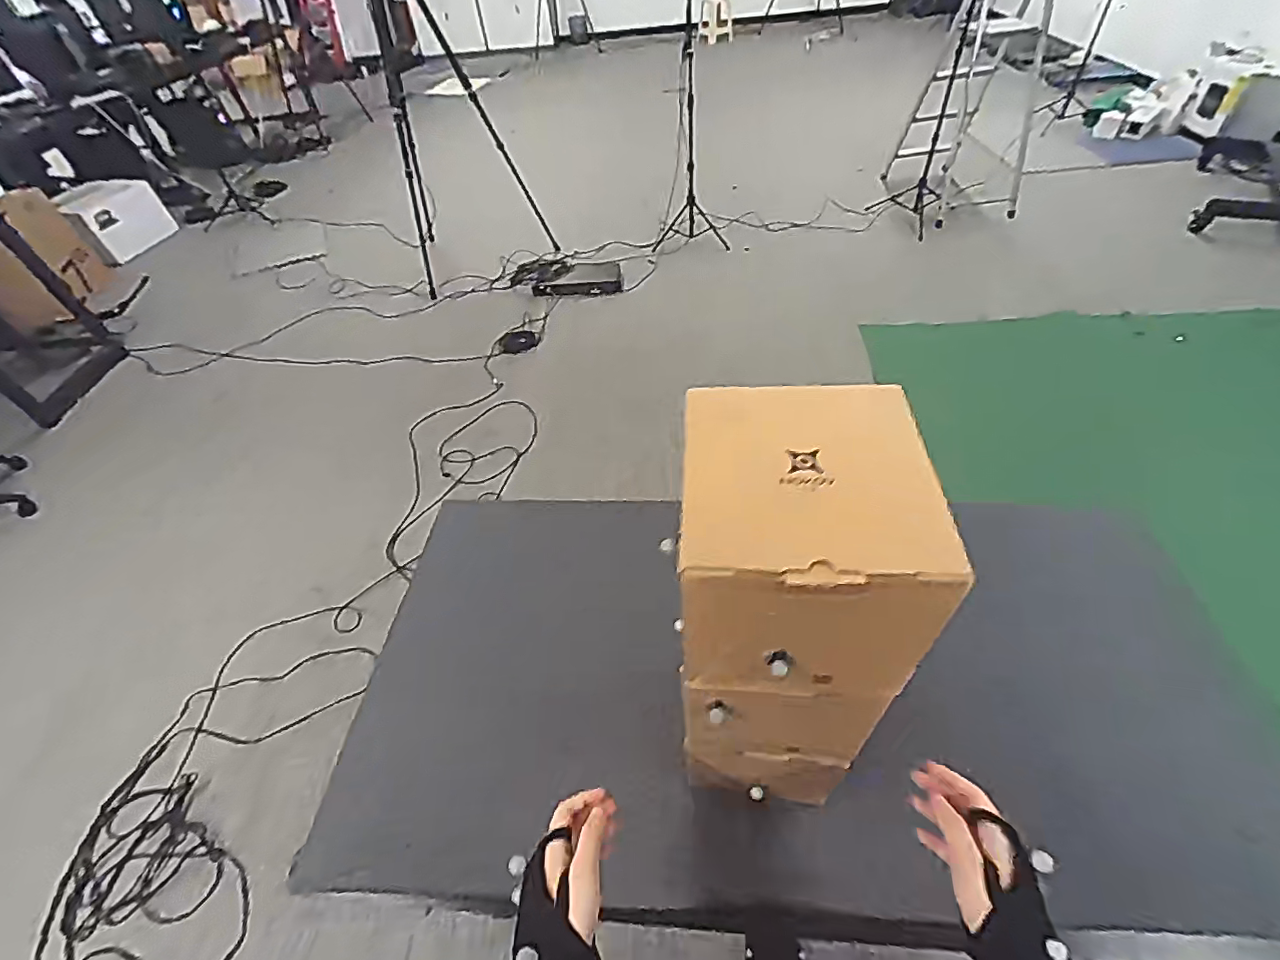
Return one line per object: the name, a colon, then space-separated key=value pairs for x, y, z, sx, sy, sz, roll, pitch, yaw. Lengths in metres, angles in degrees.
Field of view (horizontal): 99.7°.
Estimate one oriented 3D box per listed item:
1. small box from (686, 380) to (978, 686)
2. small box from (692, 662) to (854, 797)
small box: x=0.121 y=0.040 z=0.425 sx=0.168 sy=0.176 sz=0.179 roll=0 pitch=48 yaw=6
small box: x=0.152 y=0.262 z=0.663 sx=0.168 sy=0.176 sz=0.179 roll=3 pitch=48 yaw=10
